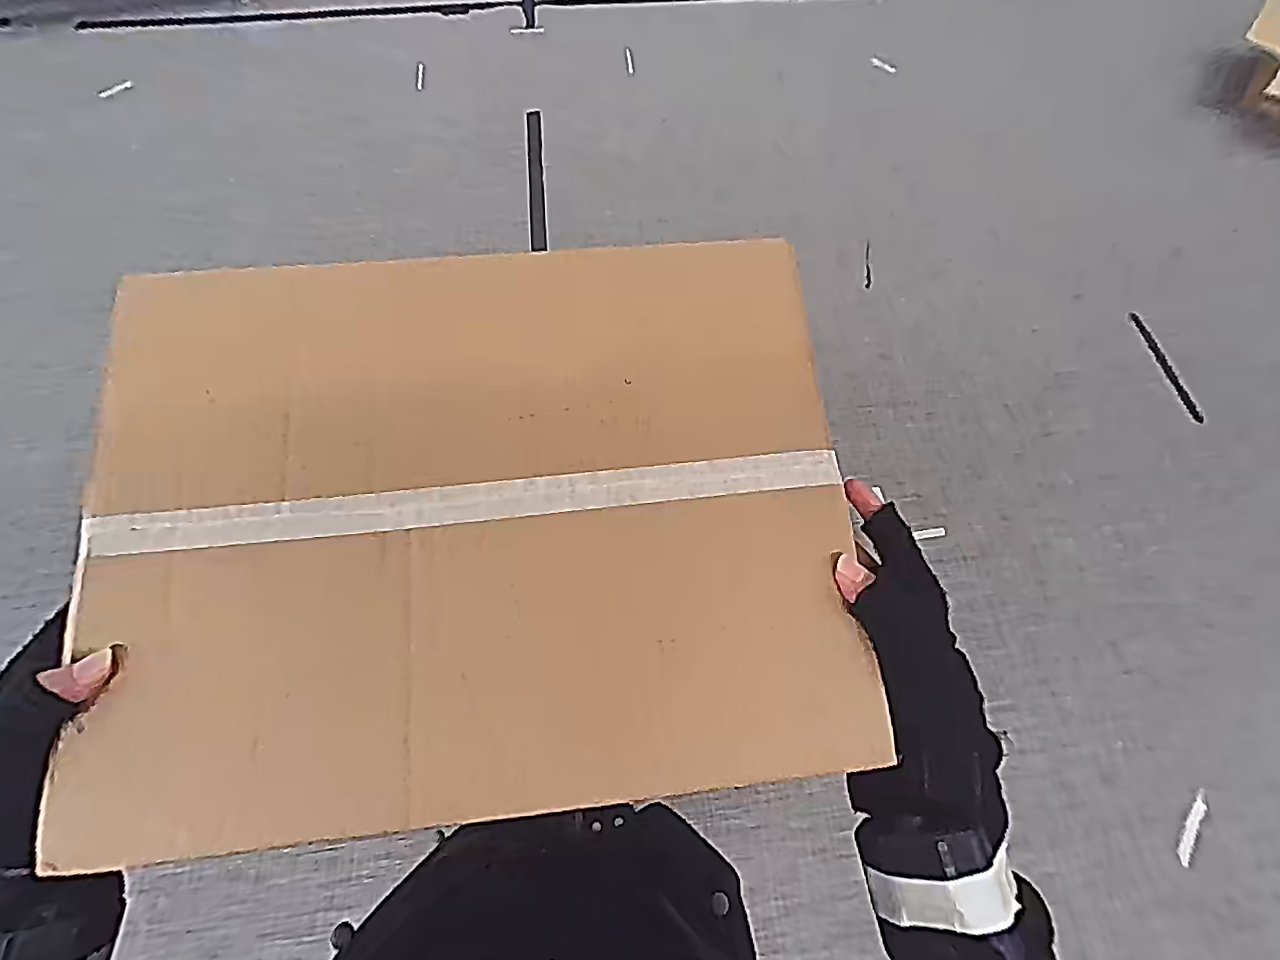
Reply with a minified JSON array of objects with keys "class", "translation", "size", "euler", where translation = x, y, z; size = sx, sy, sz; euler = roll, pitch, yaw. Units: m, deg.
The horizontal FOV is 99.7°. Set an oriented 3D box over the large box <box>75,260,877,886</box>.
[{"class":"large box","translation":[-0.093,0.059,0.447],"size":[0.408,0.320,0.320],"euler":[-5,75,-4]}]
